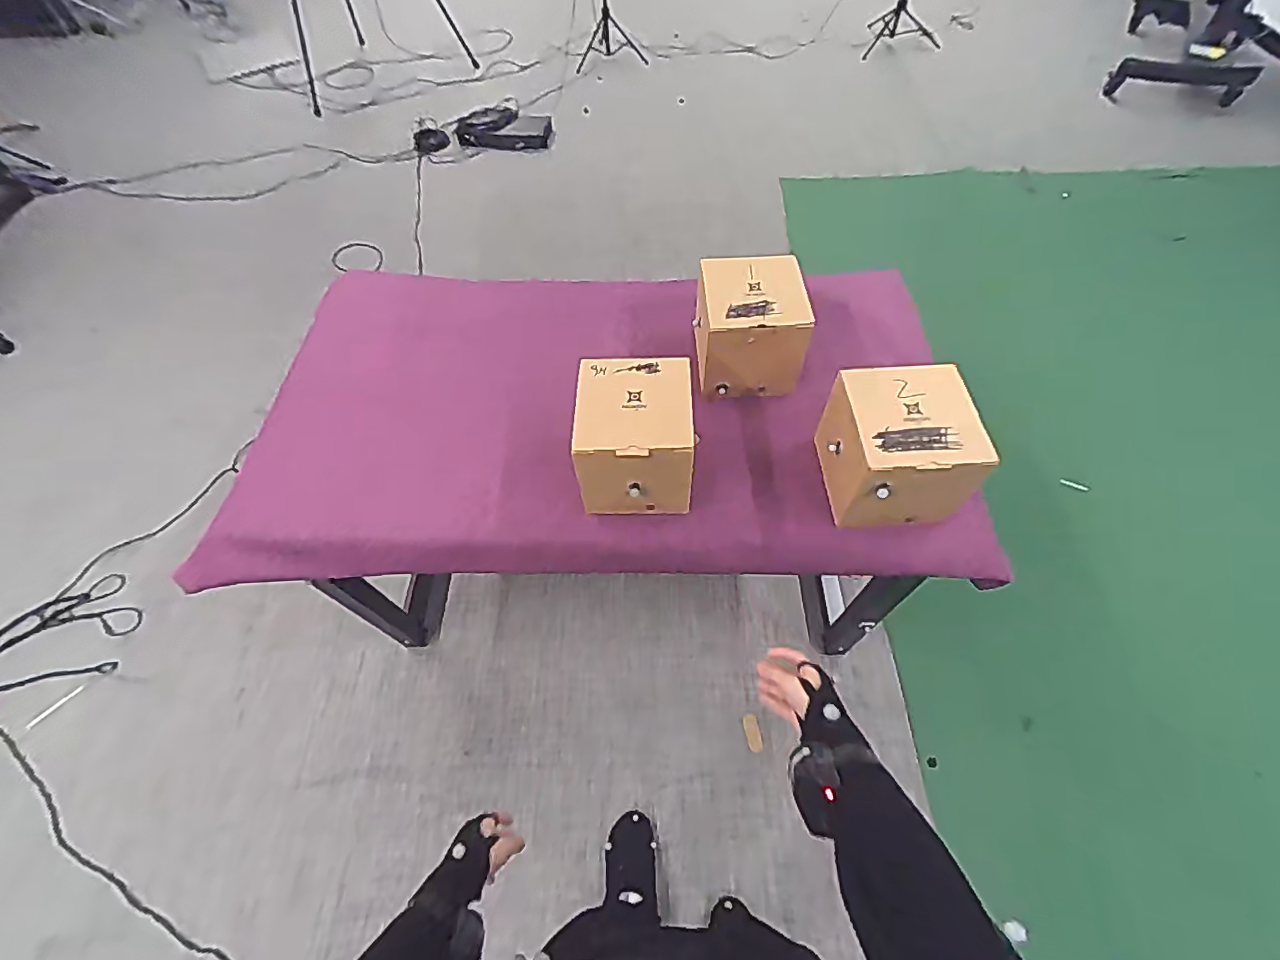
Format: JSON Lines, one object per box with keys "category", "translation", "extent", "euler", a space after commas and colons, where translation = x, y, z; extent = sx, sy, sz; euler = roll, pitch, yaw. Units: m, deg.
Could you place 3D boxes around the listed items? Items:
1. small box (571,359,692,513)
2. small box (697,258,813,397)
{"category": "small box", "translation": [-0.005, -0.062, 0.823], "extent": [0.168, 0.176, 0.179], "euler": [0, 57, 2]}
{"category": "small box", "translation": [0.190, -0.259, 0.943], "extent": [0.168, 0.176, 0.179], "euler": [-2, 57, 1]}
